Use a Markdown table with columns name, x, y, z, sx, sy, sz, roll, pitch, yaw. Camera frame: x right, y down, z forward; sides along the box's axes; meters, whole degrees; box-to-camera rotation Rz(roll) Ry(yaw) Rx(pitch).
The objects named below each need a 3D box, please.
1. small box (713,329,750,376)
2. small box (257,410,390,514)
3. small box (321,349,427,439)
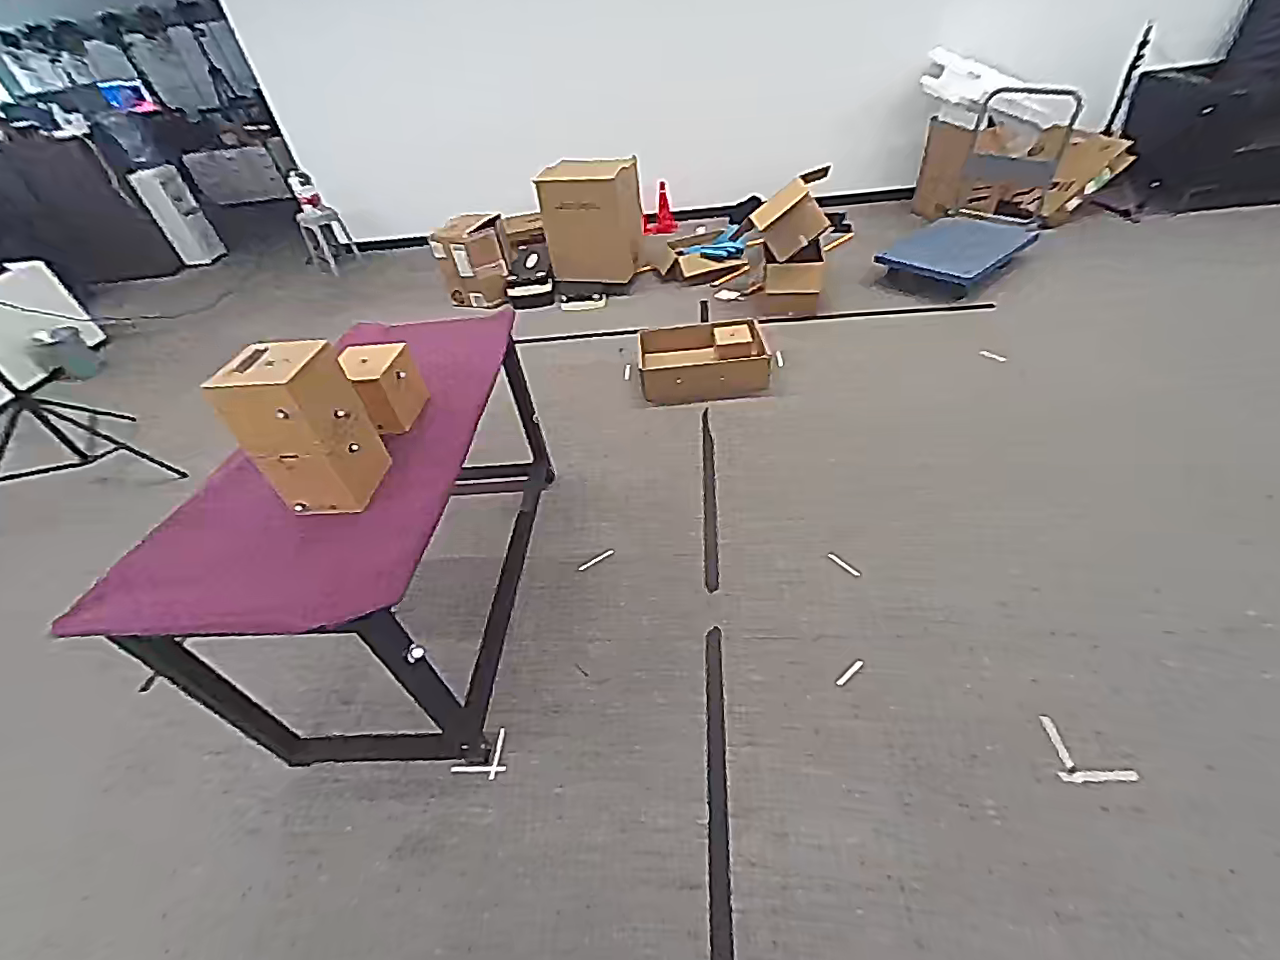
| name | x | y | z | sx | sy | sz | roll | pitch | yaw |
| --- | --- | --- | --- | --- | --- | --- | --- | --- | --- |
| small box | 0.454 | -0.629 | 2.691 | 0.168 | 0.176 | 0.179 | -5 | 41 | 4 |
| small box | -0.692 | -0.035 | 1.210 | 0.168 | 0.176 | 0.179 | -3 | 41 | 6 |
| small box | -0.686 | -0.225 | 1.422 | 0.168 | 0.176 | 0.179 | -2 | 43 | 7 |
